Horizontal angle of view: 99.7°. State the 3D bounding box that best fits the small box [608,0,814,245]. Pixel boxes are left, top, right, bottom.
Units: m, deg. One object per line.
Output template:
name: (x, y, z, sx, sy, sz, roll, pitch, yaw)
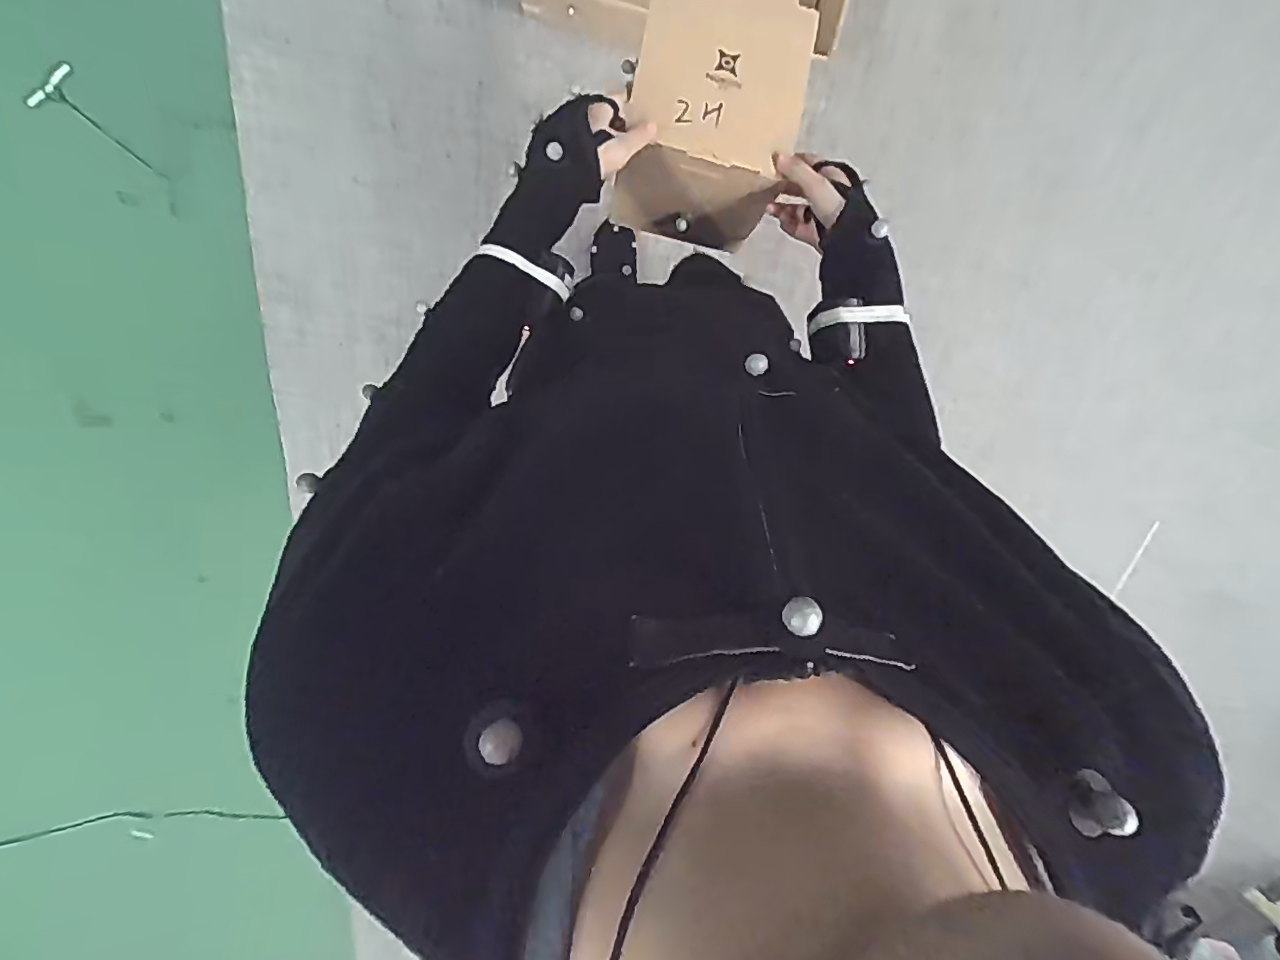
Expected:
small box: (0.062, -0.391, 0.586, 0.168, 0.176, 0.179, 12, 89, -7)
